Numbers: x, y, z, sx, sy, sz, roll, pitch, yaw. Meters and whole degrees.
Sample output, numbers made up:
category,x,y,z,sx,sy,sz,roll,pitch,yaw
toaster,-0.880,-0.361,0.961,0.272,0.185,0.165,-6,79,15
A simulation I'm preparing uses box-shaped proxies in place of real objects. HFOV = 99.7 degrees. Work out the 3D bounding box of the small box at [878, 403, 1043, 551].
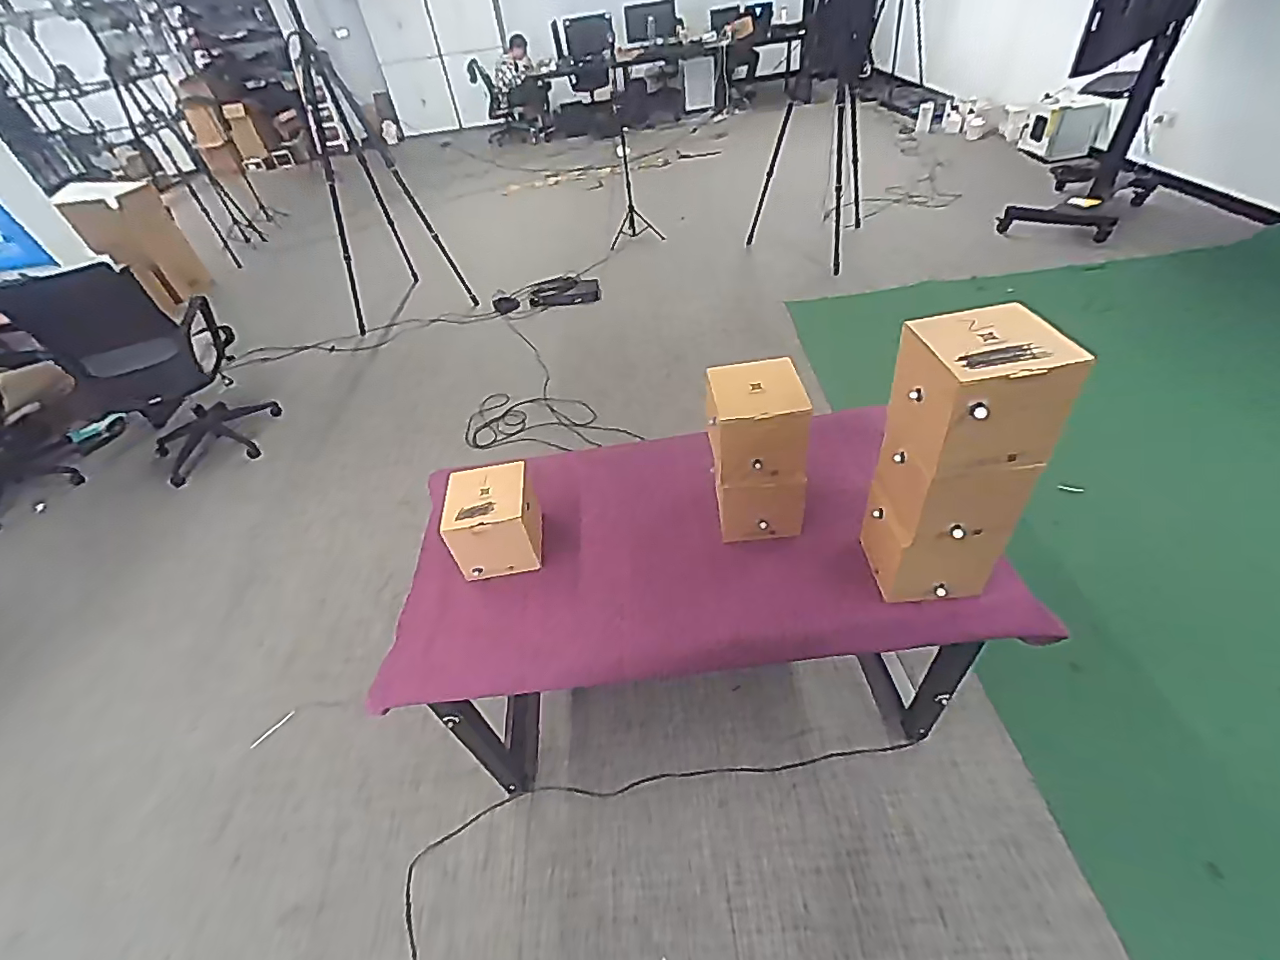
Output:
category,x,y,z,sx,sy,sz,roll,pitch,yaw
small box,0.514,-0.004,0.903,0.168,0.176,0.179,-6,42,6

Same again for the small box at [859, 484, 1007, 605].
category,x,y,z,sx,sy,sz,roll,pitch,yaw
small box,0.532,0.117,1.011,0.179,0.176,0.168,-5,42,5

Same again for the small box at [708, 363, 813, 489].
category,x,y,z,sx,sy,sz,roll,pitch,yaw
small box,0.226,-0.105,1.059,0.168,0.176,0.179,-7,44,2

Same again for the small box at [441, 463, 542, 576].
category,x,y,z,sx,sy,sz,roll,pitch,yaw
small box,-0.313,0.092,1.176,0.168,0.176,0.179,-9,43,-1

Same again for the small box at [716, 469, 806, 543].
category,x,y,z,sx,sy,sz,roll,pitch,yaw
small box,0.252,0.014,1.166,0.168,0.176,0.179,-5,44,5
